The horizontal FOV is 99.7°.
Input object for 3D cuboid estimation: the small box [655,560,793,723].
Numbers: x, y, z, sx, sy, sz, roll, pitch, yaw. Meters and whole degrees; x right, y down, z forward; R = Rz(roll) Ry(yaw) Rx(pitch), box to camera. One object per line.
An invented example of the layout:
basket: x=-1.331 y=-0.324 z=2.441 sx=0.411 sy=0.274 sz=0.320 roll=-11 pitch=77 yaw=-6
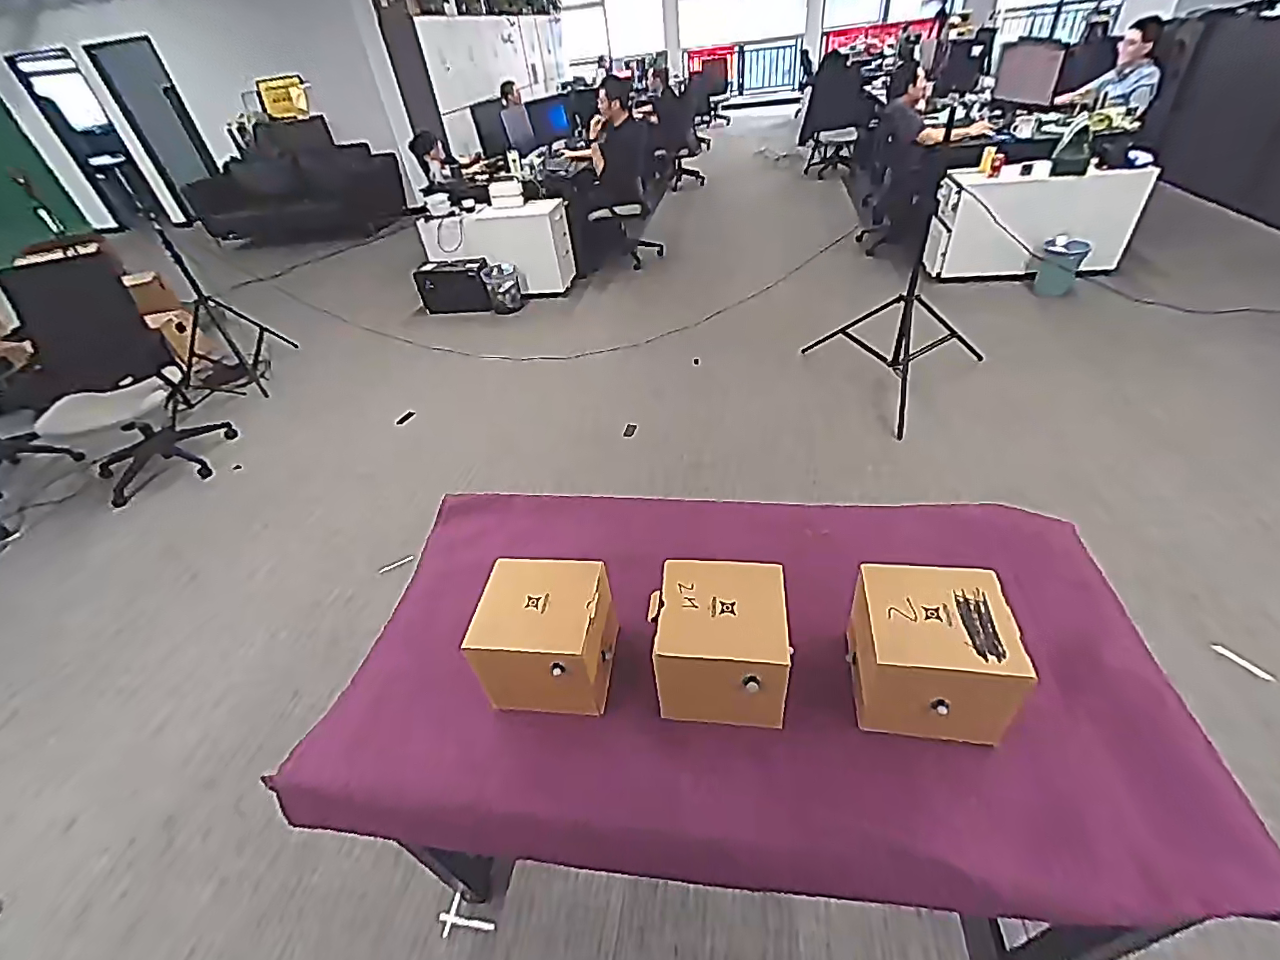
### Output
small box: x=0.124 y=0.237 z=0.794 sx=0.179 sy=0.176 sz=0.168 roll=0 pitch=39 yaw=10

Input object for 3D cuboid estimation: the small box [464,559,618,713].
small box: x=-0.140 y=0.241 z=0.837 sx=0.179 sy=0.176 sz=0.168 roll=0 pitch=40 yaw=8
